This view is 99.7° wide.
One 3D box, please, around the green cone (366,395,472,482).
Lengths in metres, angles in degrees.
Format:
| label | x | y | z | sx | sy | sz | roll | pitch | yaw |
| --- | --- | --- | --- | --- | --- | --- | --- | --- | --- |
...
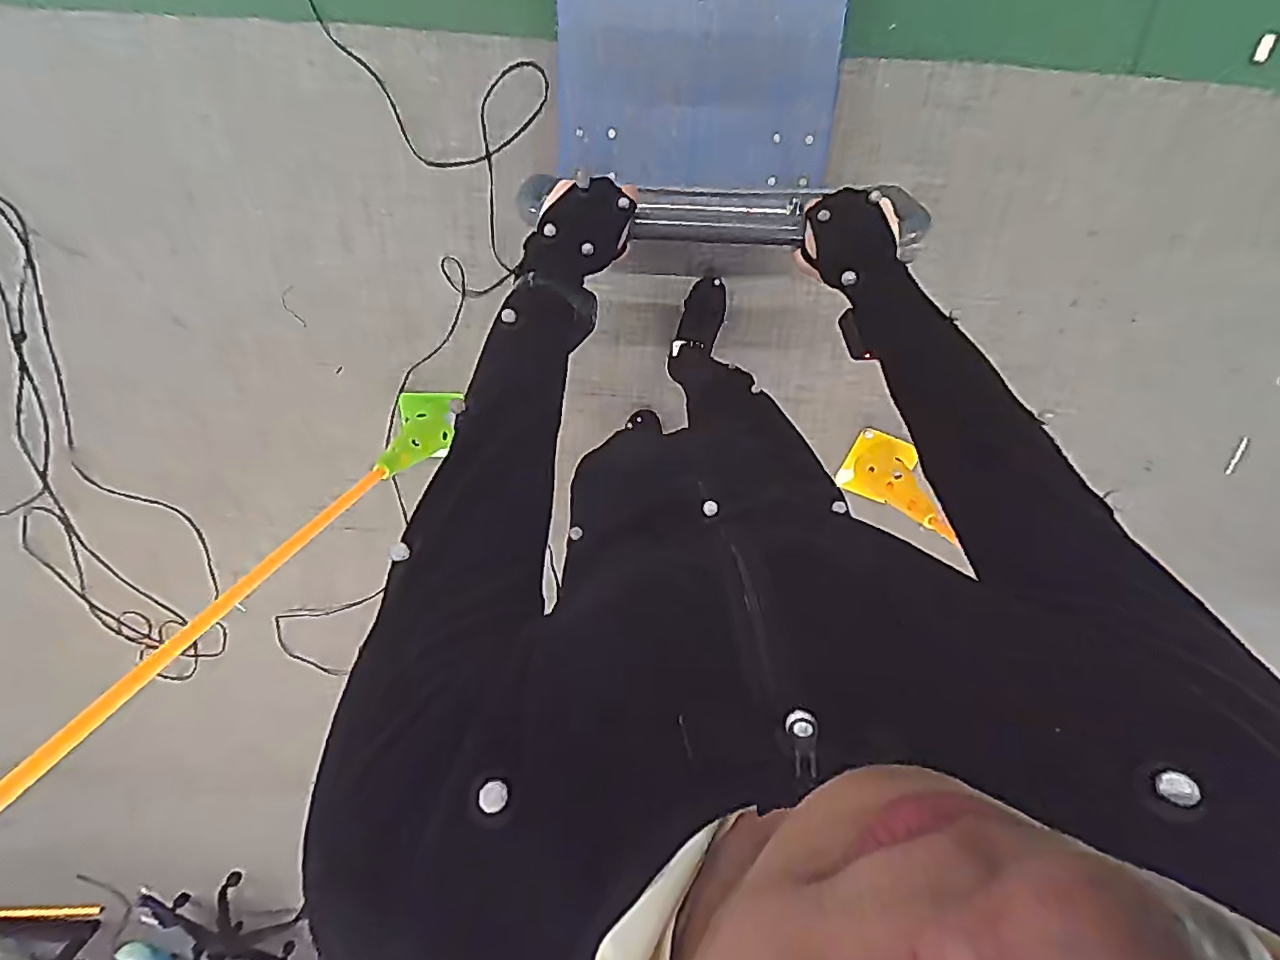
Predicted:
| label | x | y | z | sx | sy | sz | roll | pitch | yaw |
| --- | --- | --- | --- | --- | --- | --- | --- | --- | --- |
| green cone | -0.617 | -0.087 | 1.450 | 0.202 | 0.368 | 0.200 | 1 | 113 | 4 |
